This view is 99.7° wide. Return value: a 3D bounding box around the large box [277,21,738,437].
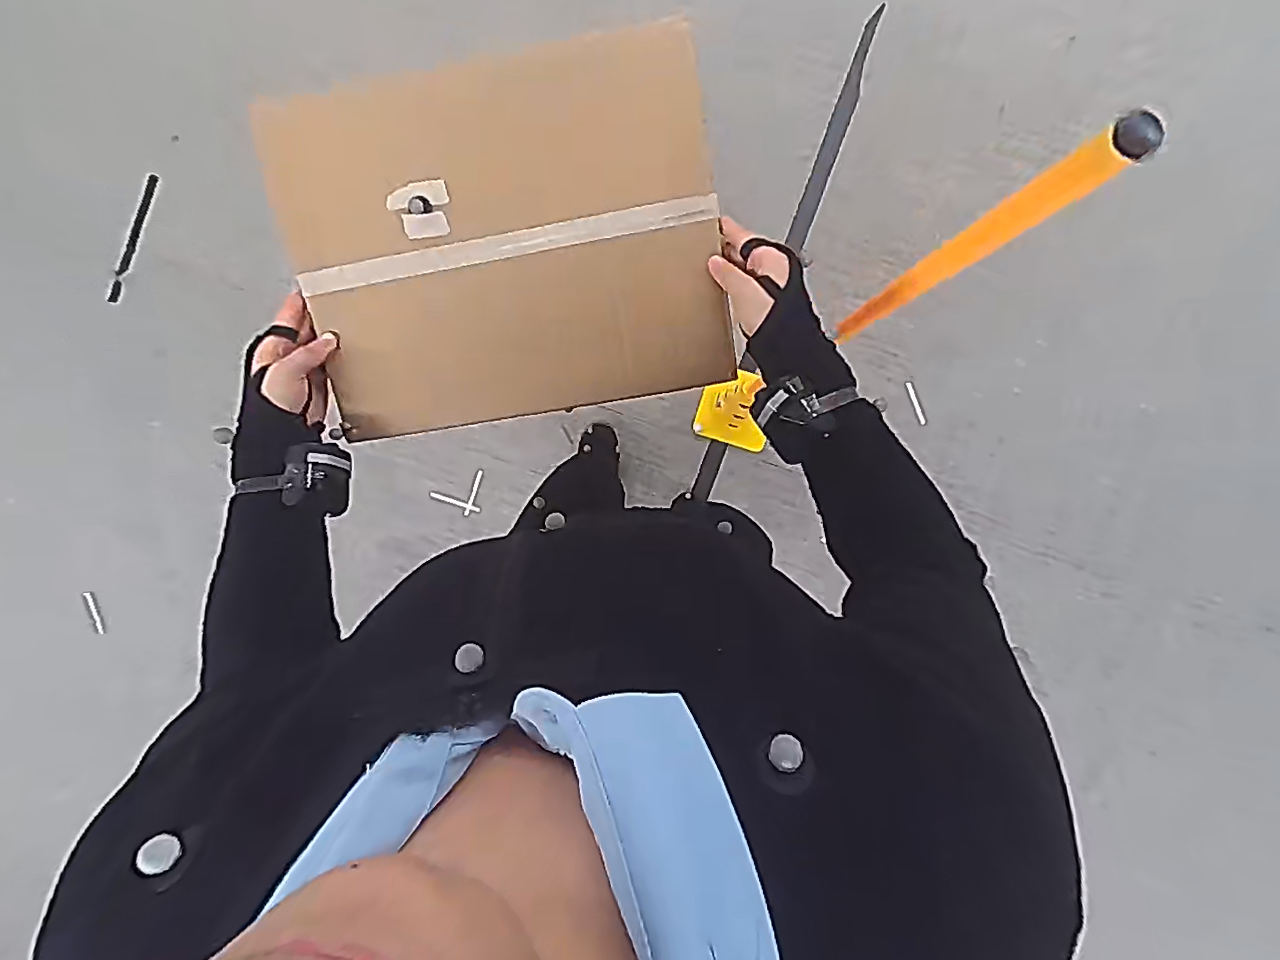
[{"bbox_3d":[-0.115,-0.259,0.668,0.408,0.320,0.320,-9,102,5],"label":"large box"}]
